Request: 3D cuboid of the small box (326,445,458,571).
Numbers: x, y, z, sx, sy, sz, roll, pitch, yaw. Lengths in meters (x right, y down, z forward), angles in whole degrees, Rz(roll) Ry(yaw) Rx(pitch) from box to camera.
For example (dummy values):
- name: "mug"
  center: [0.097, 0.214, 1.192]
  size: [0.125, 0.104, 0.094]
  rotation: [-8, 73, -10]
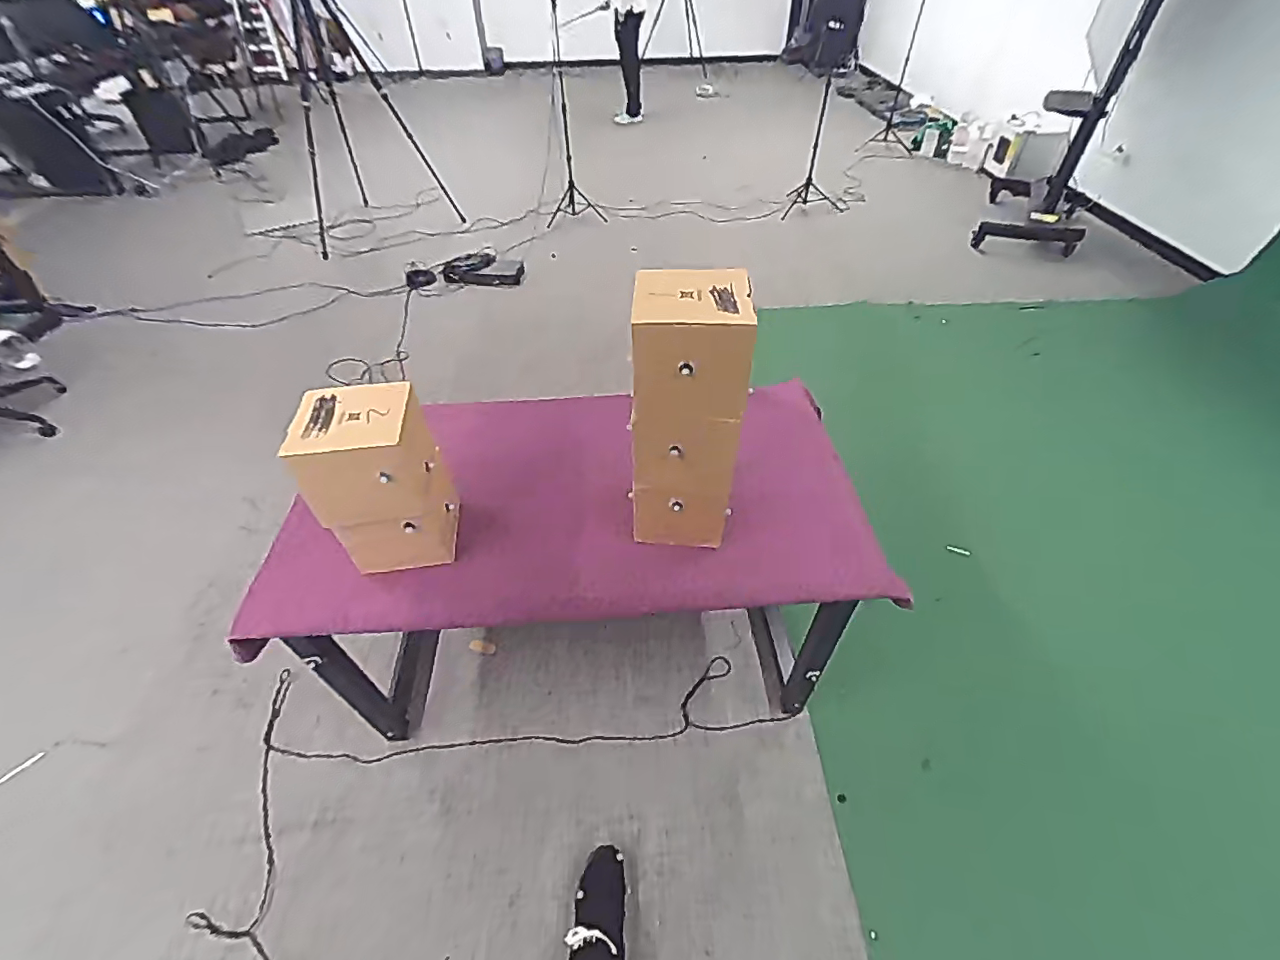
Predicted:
- name: "small box"
  center: [-0.461, 0.056, 1.041]
  size: [0.179, 0.176, 0.168]
  rotation: [-6, 47, -5]

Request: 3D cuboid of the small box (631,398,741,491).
- name: "small box"
  center: [0.081, -0.094, 0.955]
  size: [0.179, 0.176, 0.168]
  rotation: [2, 47, 4]

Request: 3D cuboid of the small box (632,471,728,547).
- name: "small box"
  center: [0.082, 0.017, 1.074]
  size: [0.179, 0.176, 0.168]
  rotation: [5, 47, 5]

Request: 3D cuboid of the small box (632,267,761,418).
- name: "small box"
  center: [0.081, -0.209, 0.837]
  size: [0.179, 0.176, 0.168]
  rotation: [1, 47, 3]
